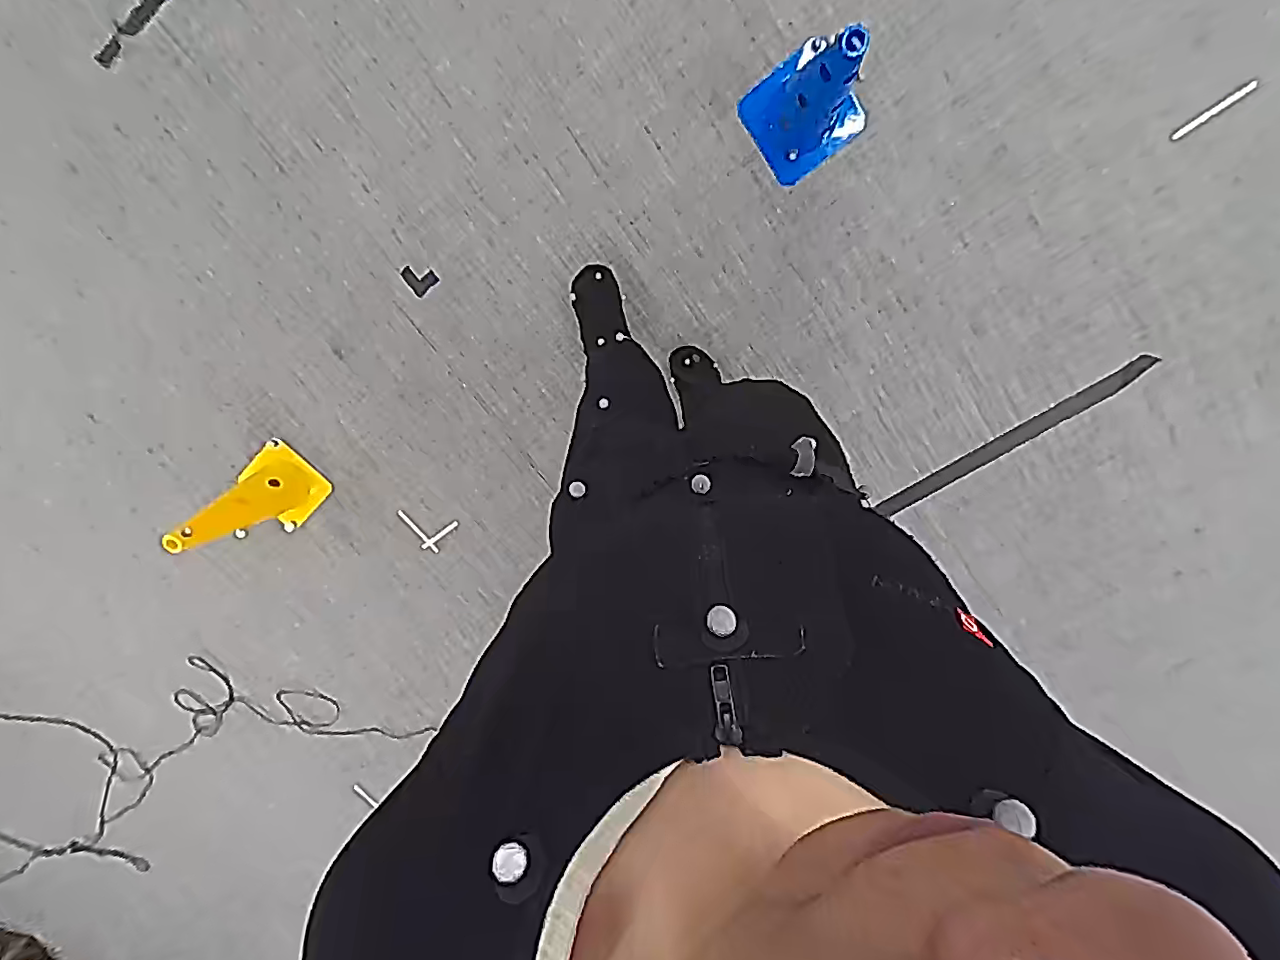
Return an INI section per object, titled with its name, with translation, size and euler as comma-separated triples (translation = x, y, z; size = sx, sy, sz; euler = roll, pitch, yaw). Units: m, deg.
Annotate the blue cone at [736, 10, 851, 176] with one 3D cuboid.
[blue cone]
translation = 0.302, -0.697, 0.943
size = 0.193, 0.380, 0.192
euler = -33, 103, 14
